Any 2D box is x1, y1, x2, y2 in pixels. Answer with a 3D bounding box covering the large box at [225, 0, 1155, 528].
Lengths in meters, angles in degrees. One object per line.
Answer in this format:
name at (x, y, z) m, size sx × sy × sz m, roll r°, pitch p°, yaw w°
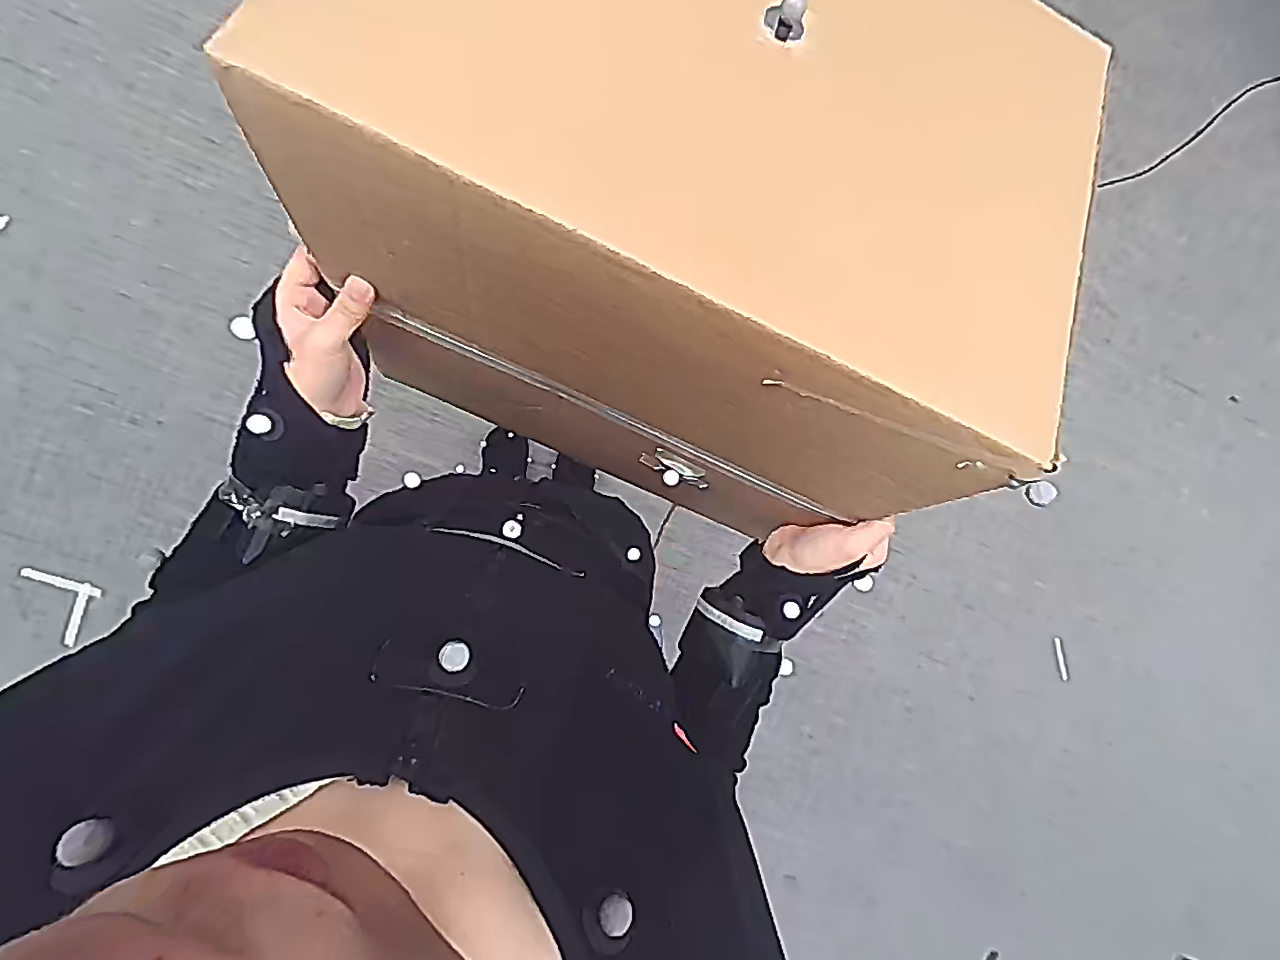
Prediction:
large box at (0.048, -0.197, 0.397) m, size 0.408 × 0.320 × 0.320 m, roll 23°, pitch 74°, yaw -7°
